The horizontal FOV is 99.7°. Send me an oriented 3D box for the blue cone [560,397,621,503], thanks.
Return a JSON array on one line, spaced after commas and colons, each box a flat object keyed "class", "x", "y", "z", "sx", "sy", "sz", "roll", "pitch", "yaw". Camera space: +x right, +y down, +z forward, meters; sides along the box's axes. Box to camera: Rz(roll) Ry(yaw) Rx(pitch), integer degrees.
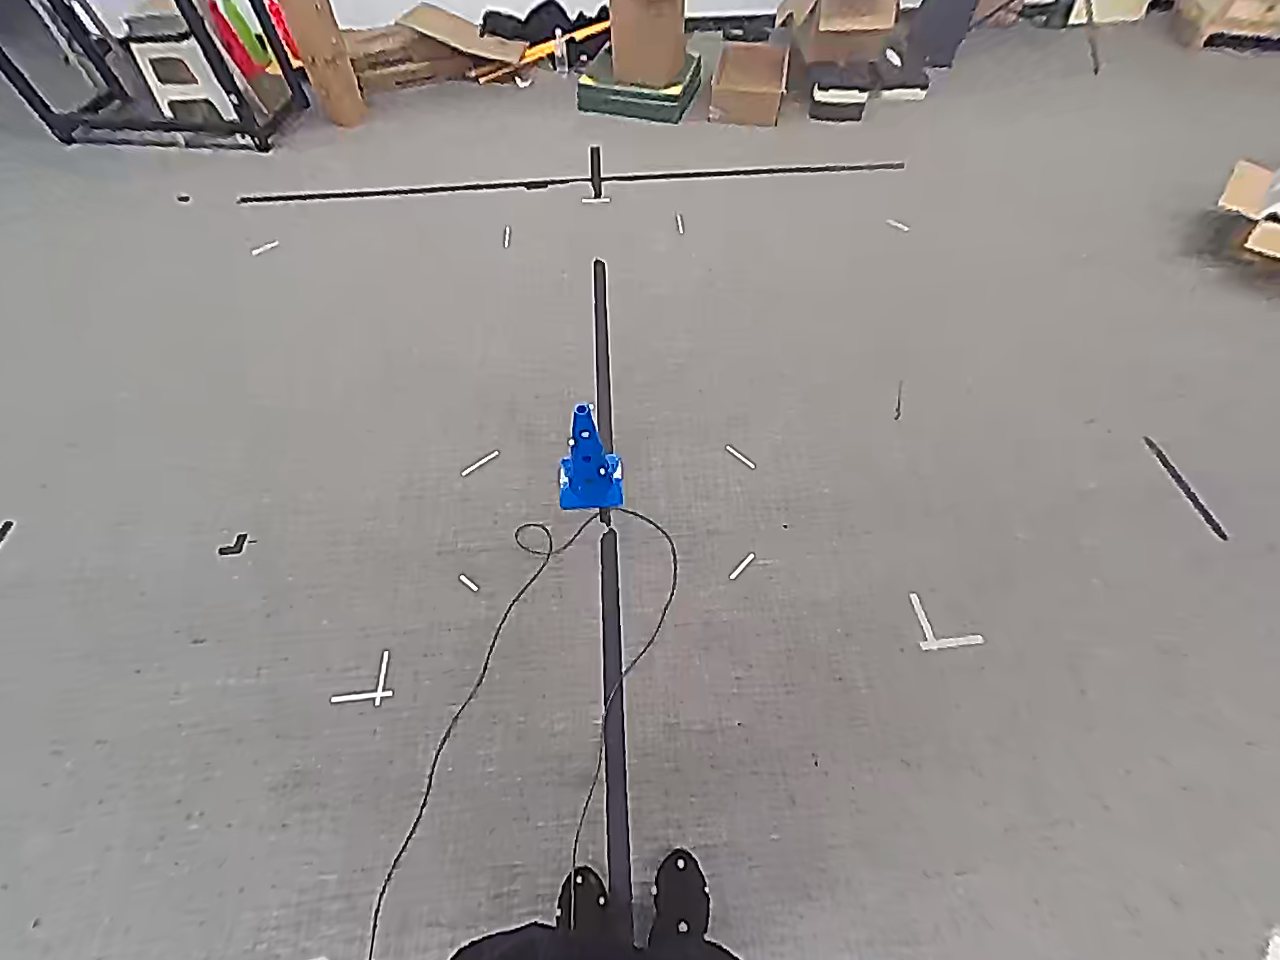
[{"class": "blue cone", "x": -0.159, "y": -0.099, "z": 1.579, "sx": 0.193, "sy": 0.380, "sz": 0.192, "roll": -5, "pitch": 57, "yaw": -2}]
